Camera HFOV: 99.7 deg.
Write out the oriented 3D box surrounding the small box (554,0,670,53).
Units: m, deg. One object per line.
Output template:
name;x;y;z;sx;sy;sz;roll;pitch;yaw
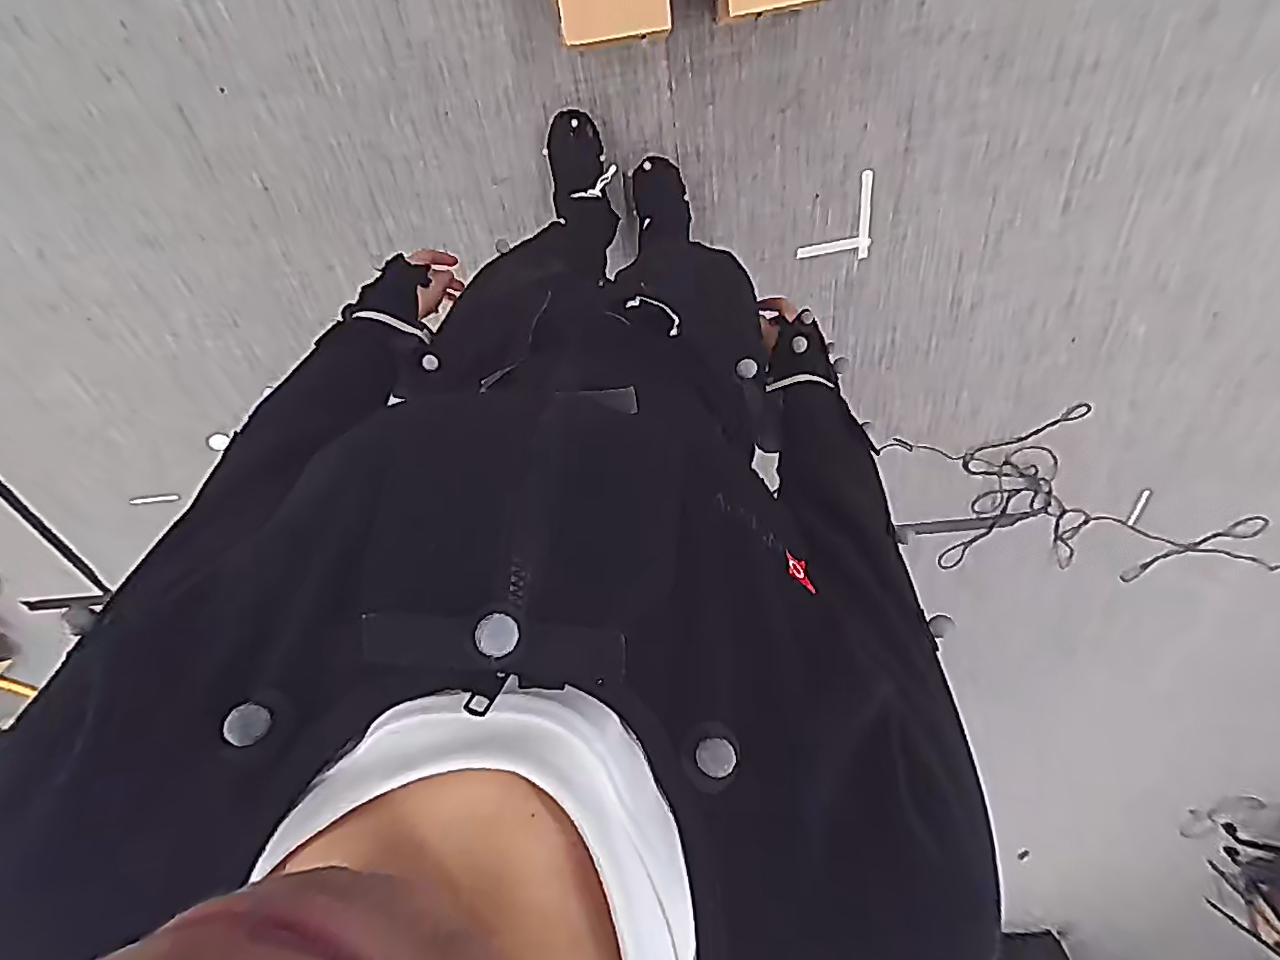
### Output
small box;-0.049;-0.806;0.872;0.179;0.176;0.168;-6;126;4
